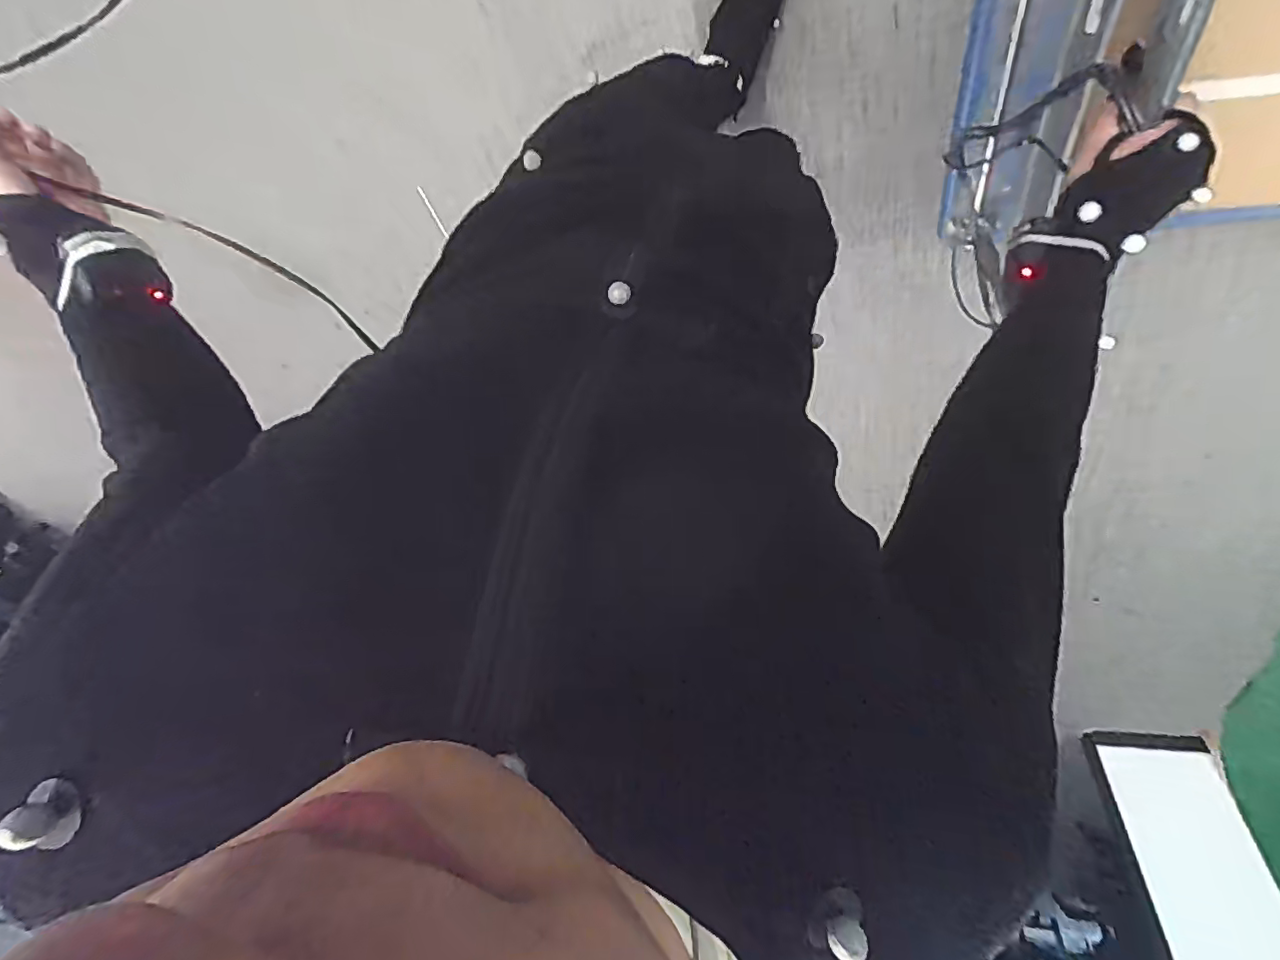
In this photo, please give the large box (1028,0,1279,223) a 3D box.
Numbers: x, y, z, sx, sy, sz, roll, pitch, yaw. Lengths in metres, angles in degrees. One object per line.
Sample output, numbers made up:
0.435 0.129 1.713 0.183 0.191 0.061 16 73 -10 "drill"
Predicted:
0.880 -0.602 0.785 0.408 0.320 0.320 2 136 13 "large box"
